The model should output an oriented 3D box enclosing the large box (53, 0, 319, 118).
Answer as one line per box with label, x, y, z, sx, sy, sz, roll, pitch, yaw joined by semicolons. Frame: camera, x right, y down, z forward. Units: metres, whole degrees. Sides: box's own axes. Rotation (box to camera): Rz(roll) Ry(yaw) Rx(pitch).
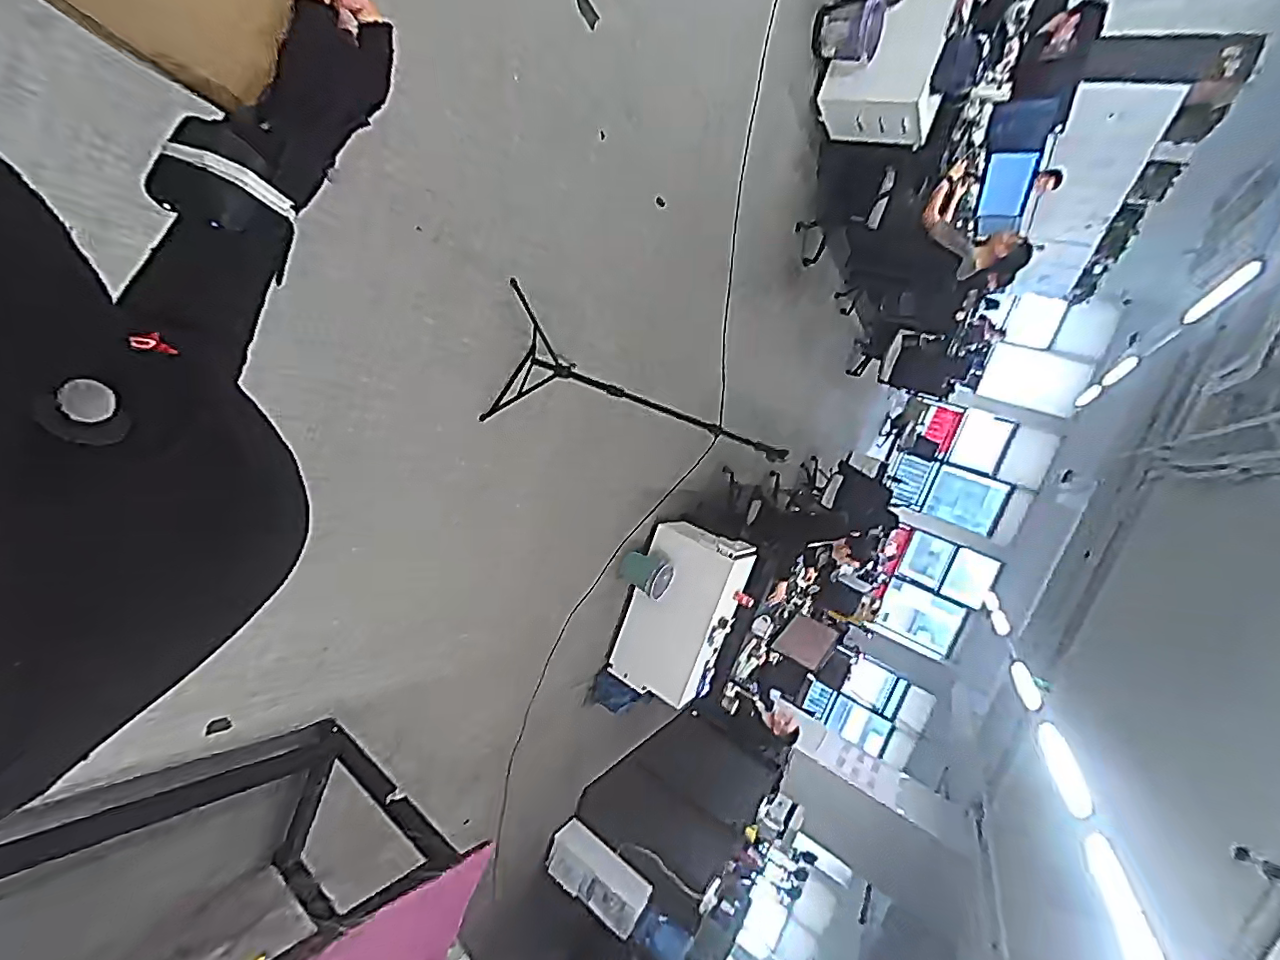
large box;-0.416;-0.517;0.303;0.320;0.320;0.408;-56;152;7
